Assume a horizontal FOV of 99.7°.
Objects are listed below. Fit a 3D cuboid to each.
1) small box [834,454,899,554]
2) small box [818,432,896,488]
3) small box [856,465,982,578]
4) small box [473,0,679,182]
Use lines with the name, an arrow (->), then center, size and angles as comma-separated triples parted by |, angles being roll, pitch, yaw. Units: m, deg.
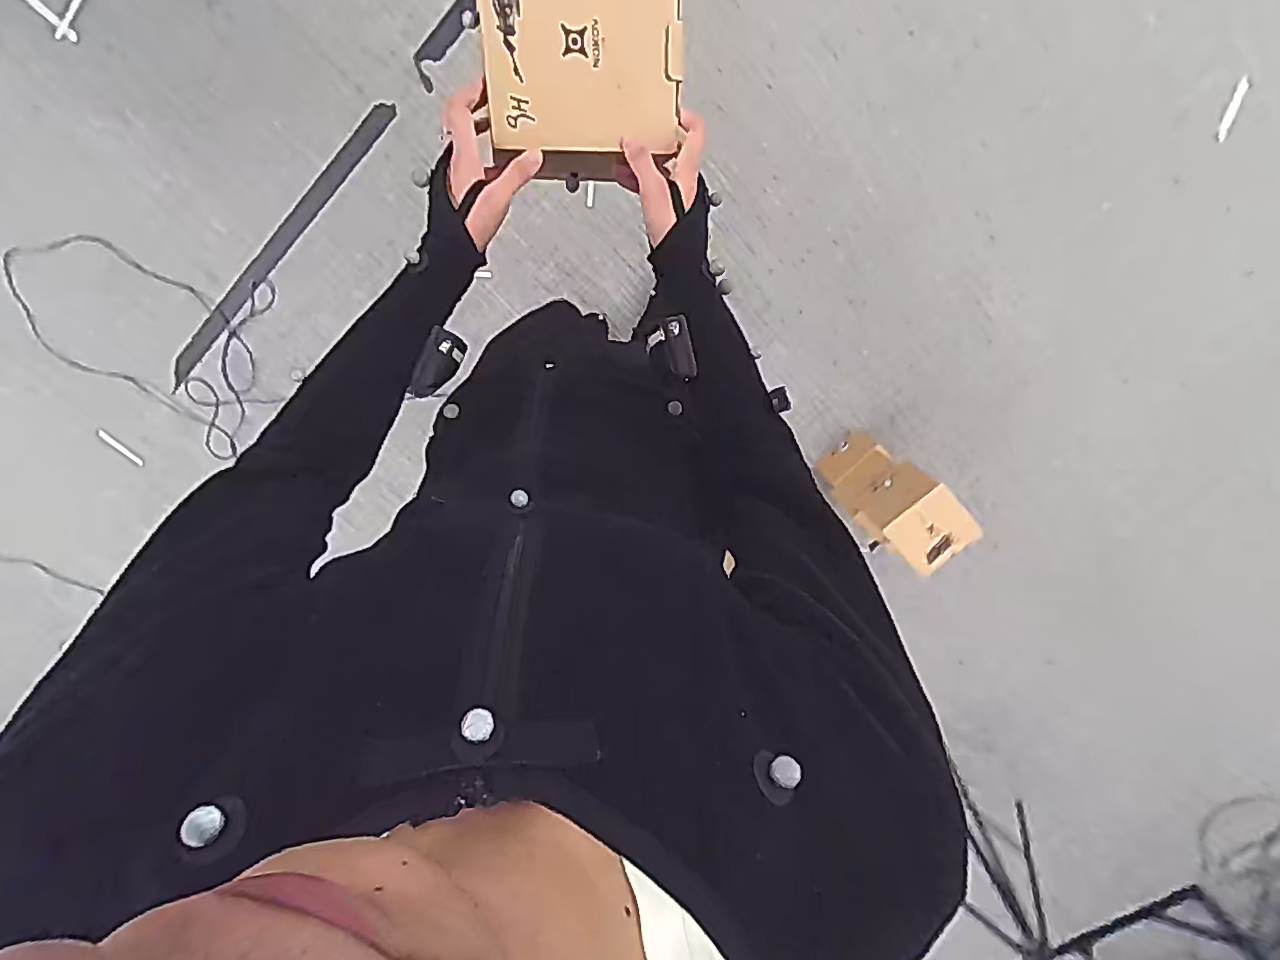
small box -> 0.656, 0.056, 1.448 | 0.168, 0.176, 0.179 | 40, 106, -15
small box -> 0.662, -0.016, 1.596 | 0.179, 0.176, 0.168 | 41, 106, -15
small box -> 0.653, 0.091, 1.285 | 0.168, 0.176, 0.179 | -42, 106, 13
small box -> -0.069, -0.405, 0.541 | 0.179, 0.176, 0.168 | -7, 111, -13
